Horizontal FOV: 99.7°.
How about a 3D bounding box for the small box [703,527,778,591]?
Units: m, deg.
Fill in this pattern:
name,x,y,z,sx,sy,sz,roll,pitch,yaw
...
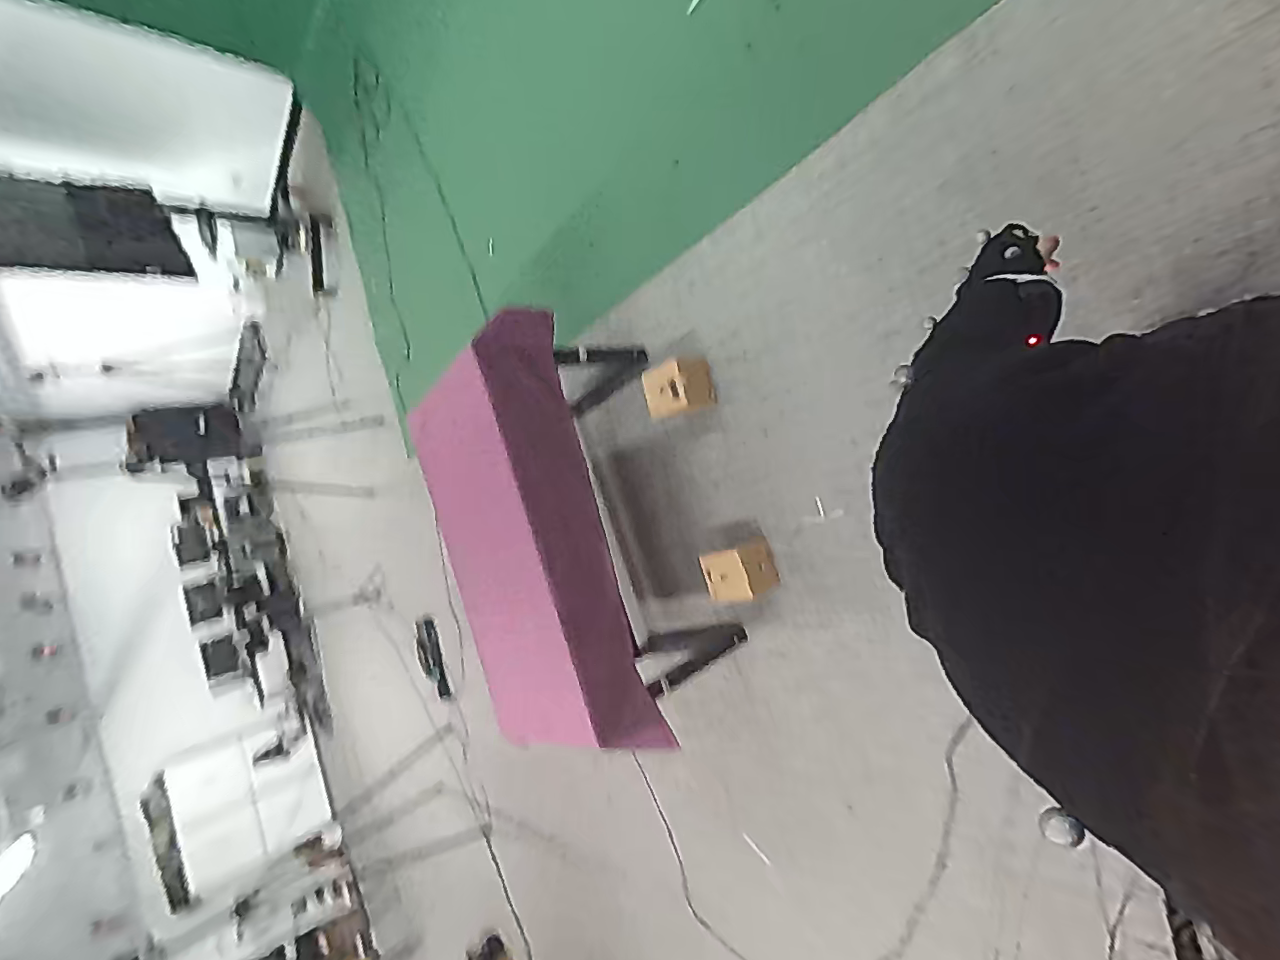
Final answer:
name,x,y,z,sx,sy,sz,roll,pitch,yaw
small box,0.350,0.270,1.854,0.179,0.176,0.168,-20,87,47
